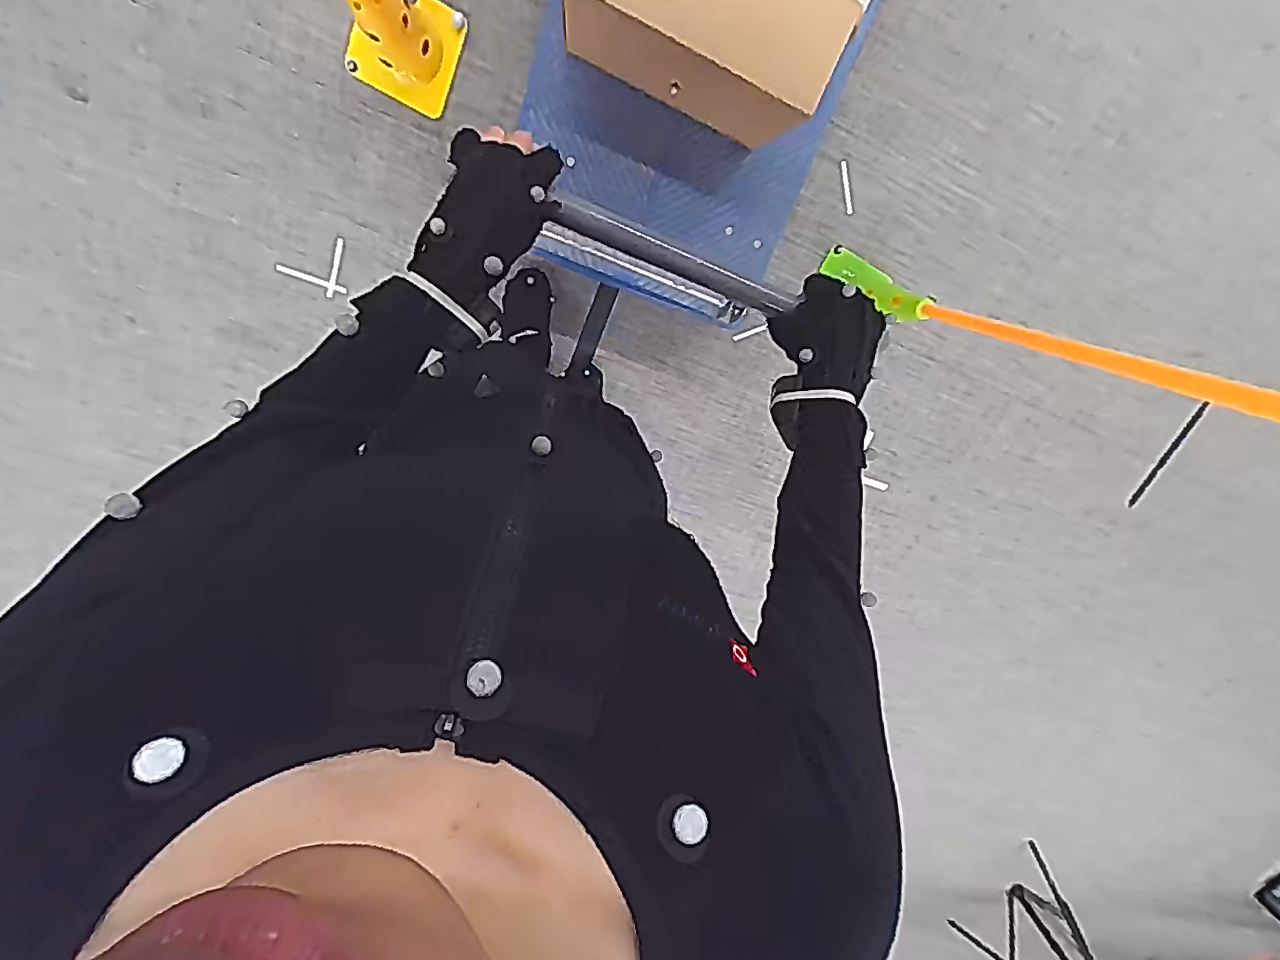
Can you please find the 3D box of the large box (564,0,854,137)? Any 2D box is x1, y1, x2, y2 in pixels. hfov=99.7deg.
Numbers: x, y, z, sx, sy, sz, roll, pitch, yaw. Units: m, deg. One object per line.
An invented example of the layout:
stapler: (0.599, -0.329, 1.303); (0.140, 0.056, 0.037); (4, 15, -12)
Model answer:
large box: (0.118, -0.821, 0.873); (0.408, 0.320, 0.320); (19, 110, -13)

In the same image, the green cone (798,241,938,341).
green cone: (0.556, -0.421, 1.255); (0.202, 0.368, 0.200); (22, 109, -17)
